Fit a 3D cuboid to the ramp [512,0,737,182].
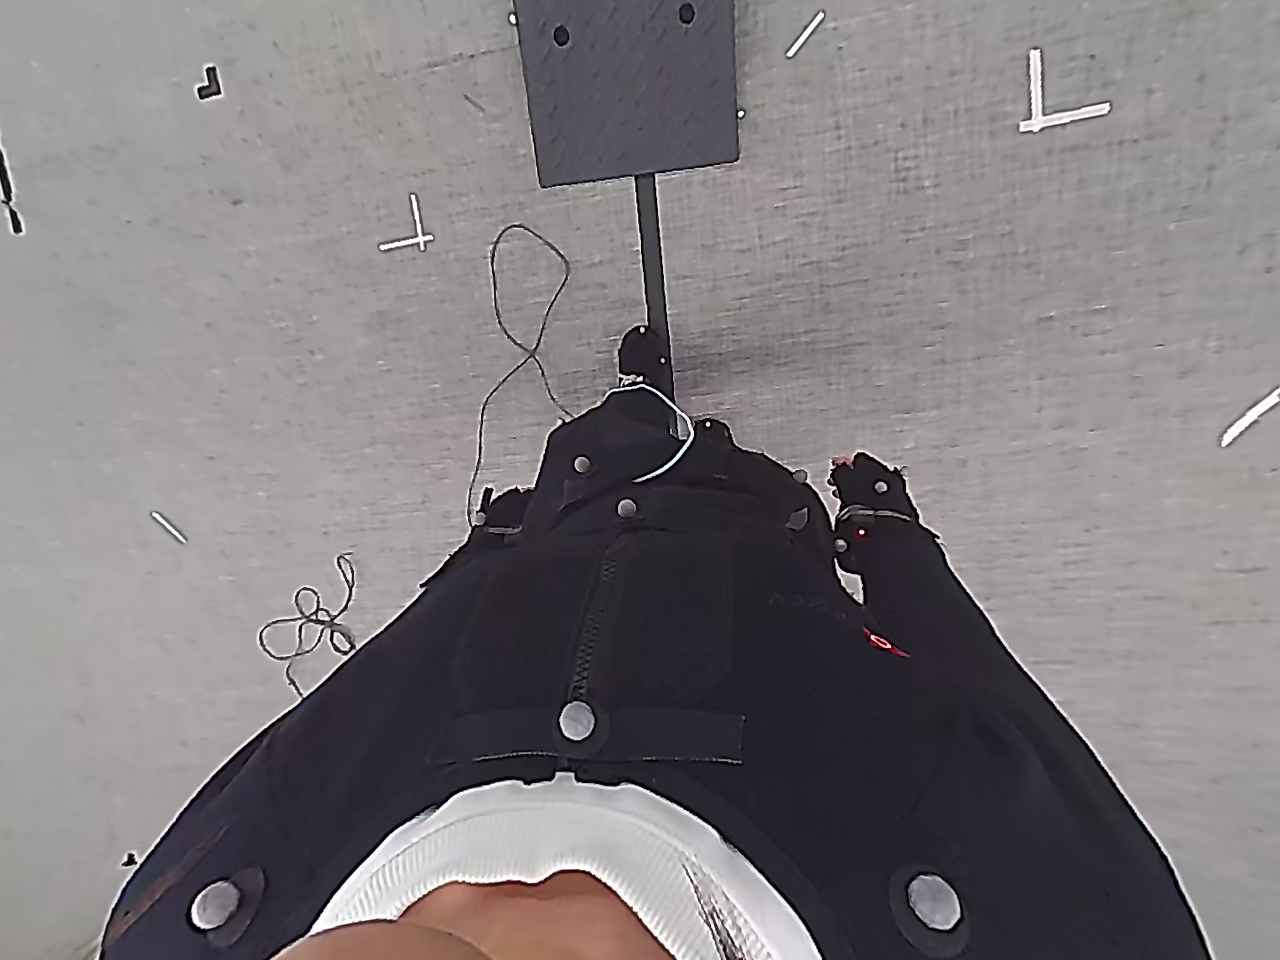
[{"bbox_3d":[-0.059,-1.213,1.128,0.509,0.206,0.991,-4,101,8],"label":"ramp"}]
